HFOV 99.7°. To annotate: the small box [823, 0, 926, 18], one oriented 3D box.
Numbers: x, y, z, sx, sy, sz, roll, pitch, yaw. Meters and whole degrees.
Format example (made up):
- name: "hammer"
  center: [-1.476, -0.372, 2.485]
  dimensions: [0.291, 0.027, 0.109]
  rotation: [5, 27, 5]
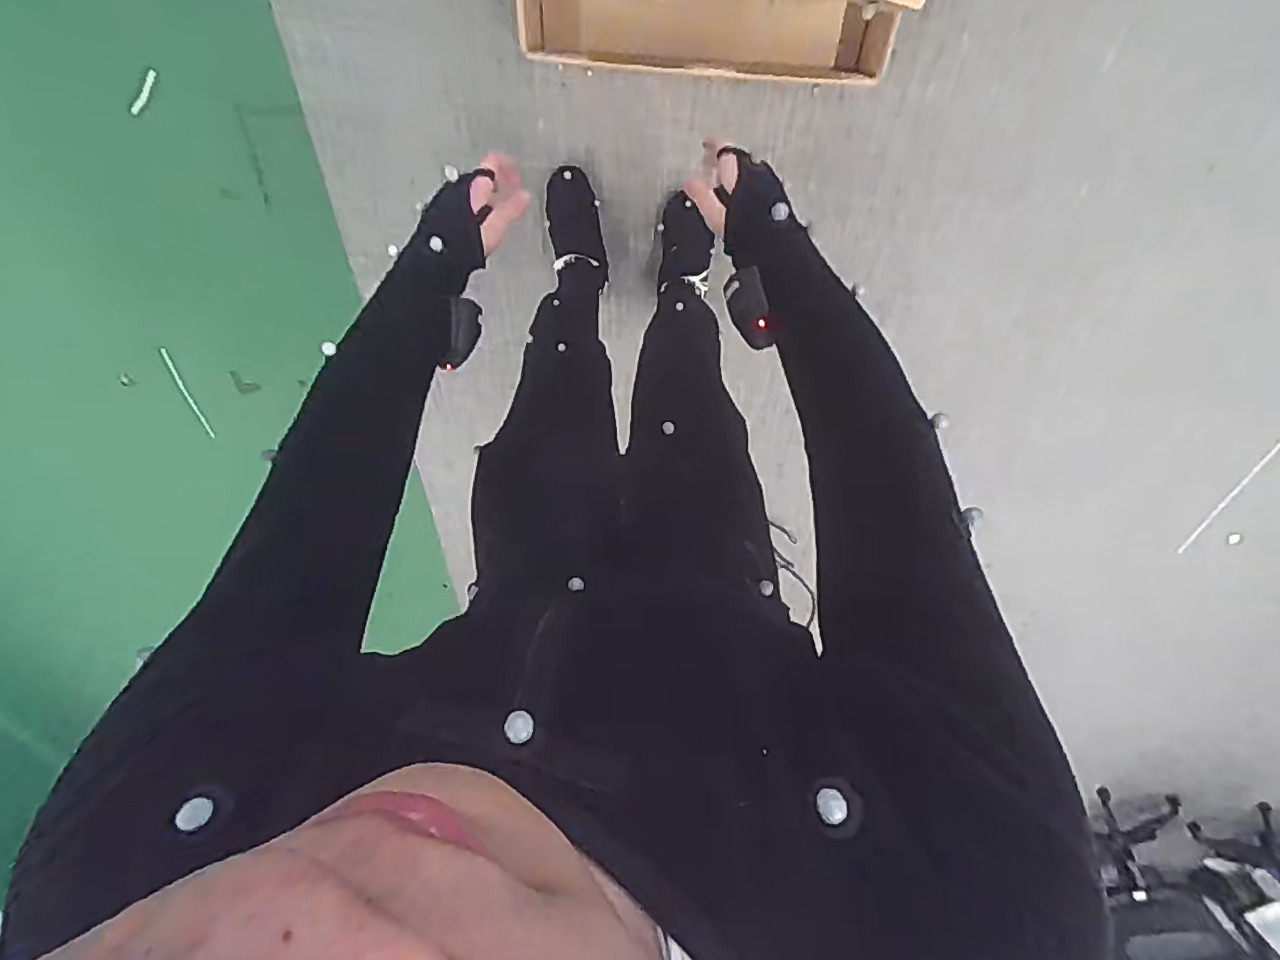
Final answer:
- name: "small box"
  center: [0.243, -0.633, 0.585]
  dimensions: [0.179, 0.176, 0.168]
  rotation: [13, 130, -5]
